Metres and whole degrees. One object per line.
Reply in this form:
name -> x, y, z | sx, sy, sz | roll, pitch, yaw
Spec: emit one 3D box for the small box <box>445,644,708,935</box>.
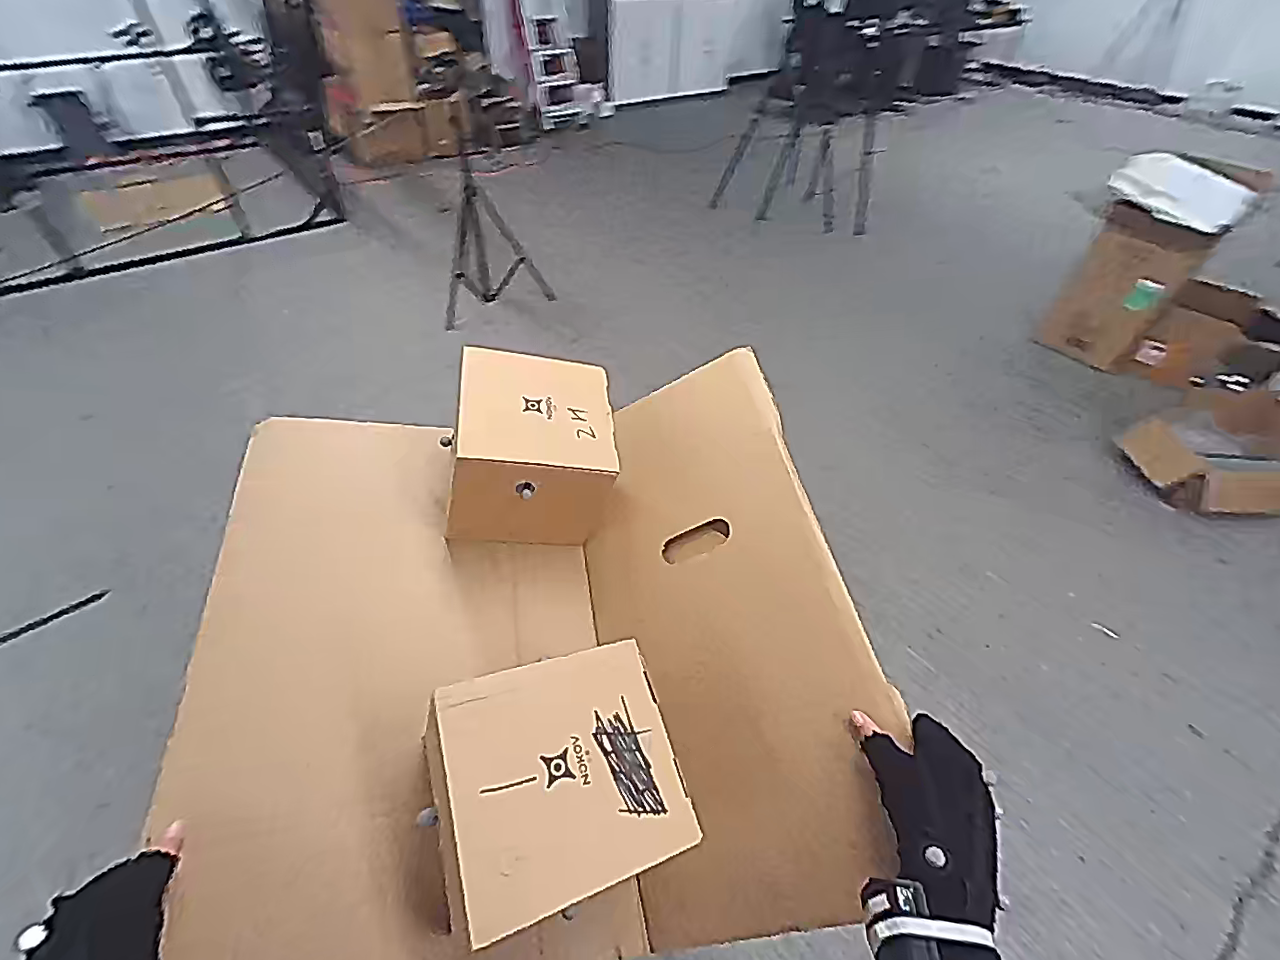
small box -> -0.071, 0.267, 0.486 | 0.179, 0.176, 0.168 | -5, 58, -26
